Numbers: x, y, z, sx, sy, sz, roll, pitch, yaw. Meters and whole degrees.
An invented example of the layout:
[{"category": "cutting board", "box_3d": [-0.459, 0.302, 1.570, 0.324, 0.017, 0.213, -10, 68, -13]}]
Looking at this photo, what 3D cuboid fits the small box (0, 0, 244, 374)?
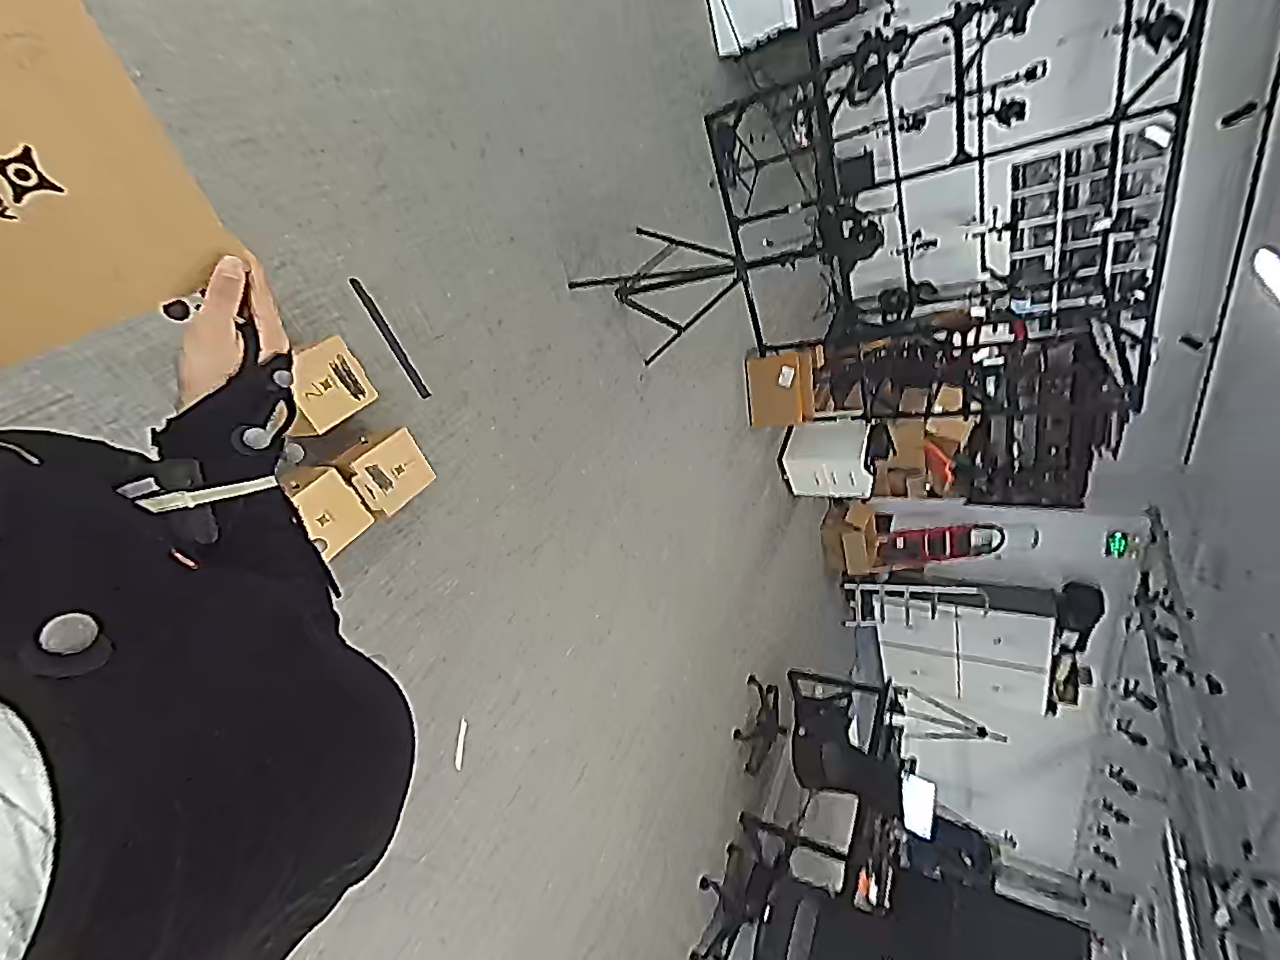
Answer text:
[{"category": "small box", "box_3d": [-0.406, -0.171, 0.324, 0.179, 0.176, 0.168, -50, 140, -37]}]
